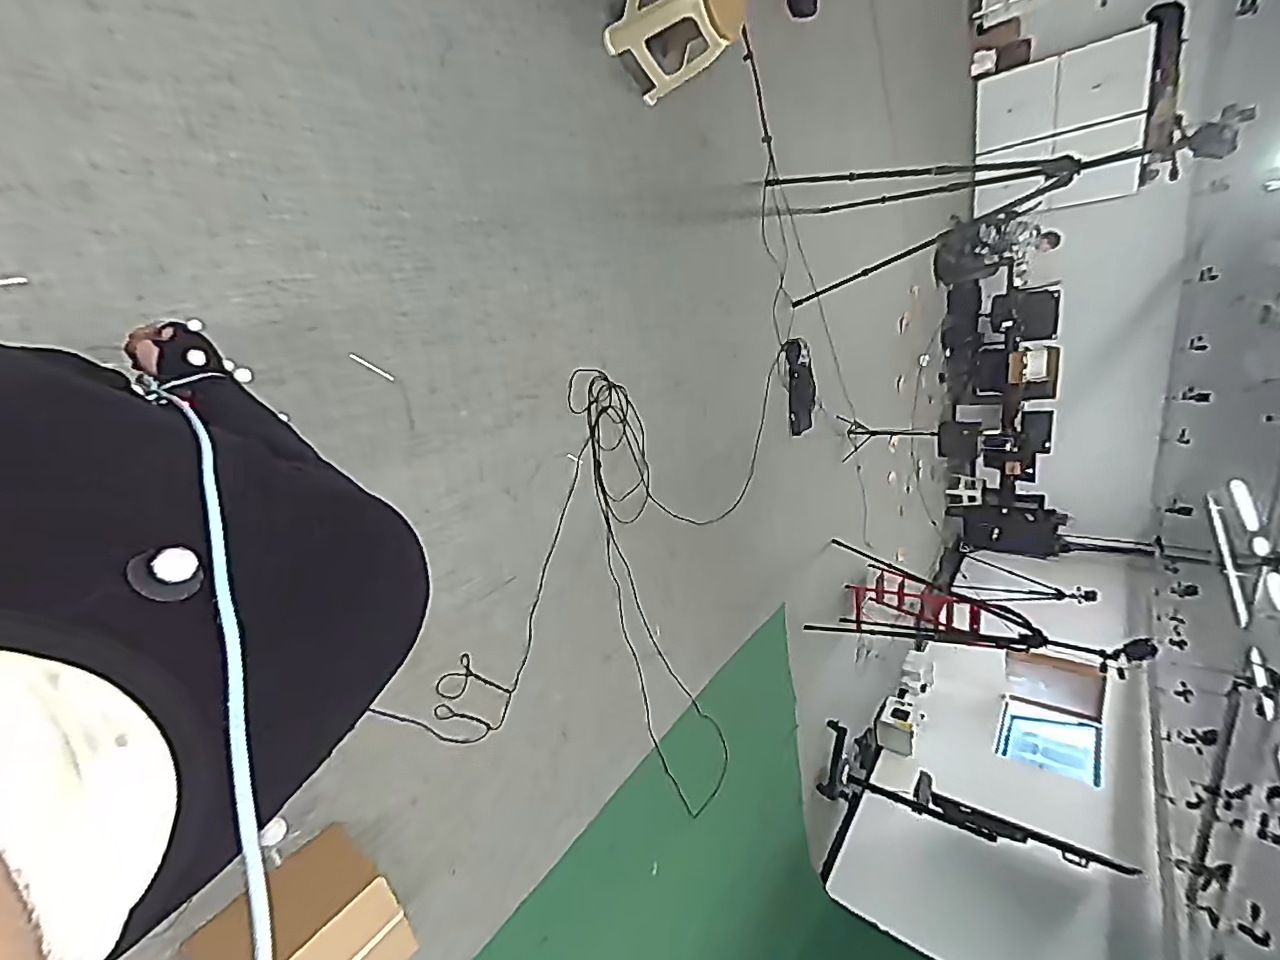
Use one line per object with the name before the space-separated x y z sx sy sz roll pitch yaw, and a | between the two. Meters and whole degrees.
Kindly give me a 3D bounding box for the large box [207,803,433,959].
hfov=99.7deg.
large box | -0.870 1.220 1.498 0.408 0.320 0.320 -32 117 -42
